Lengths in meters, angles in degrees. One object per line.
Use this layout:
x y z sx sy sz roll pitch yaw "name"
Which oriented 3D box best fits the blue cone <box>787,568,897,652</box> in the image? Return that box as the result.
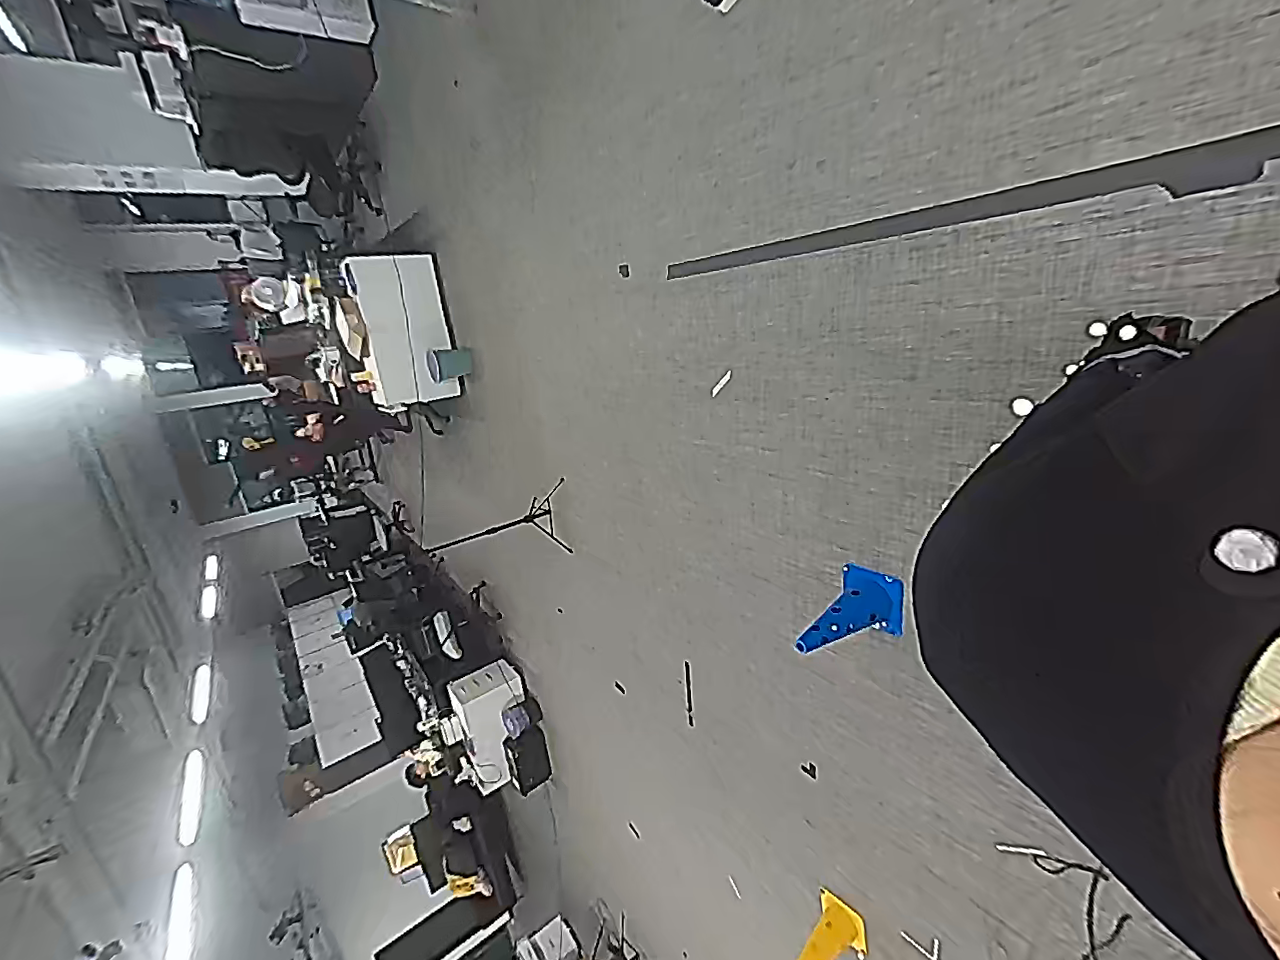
0.582 0.422 1.611 0.192 0.380 0.193 18 120 52 "blue cone"
